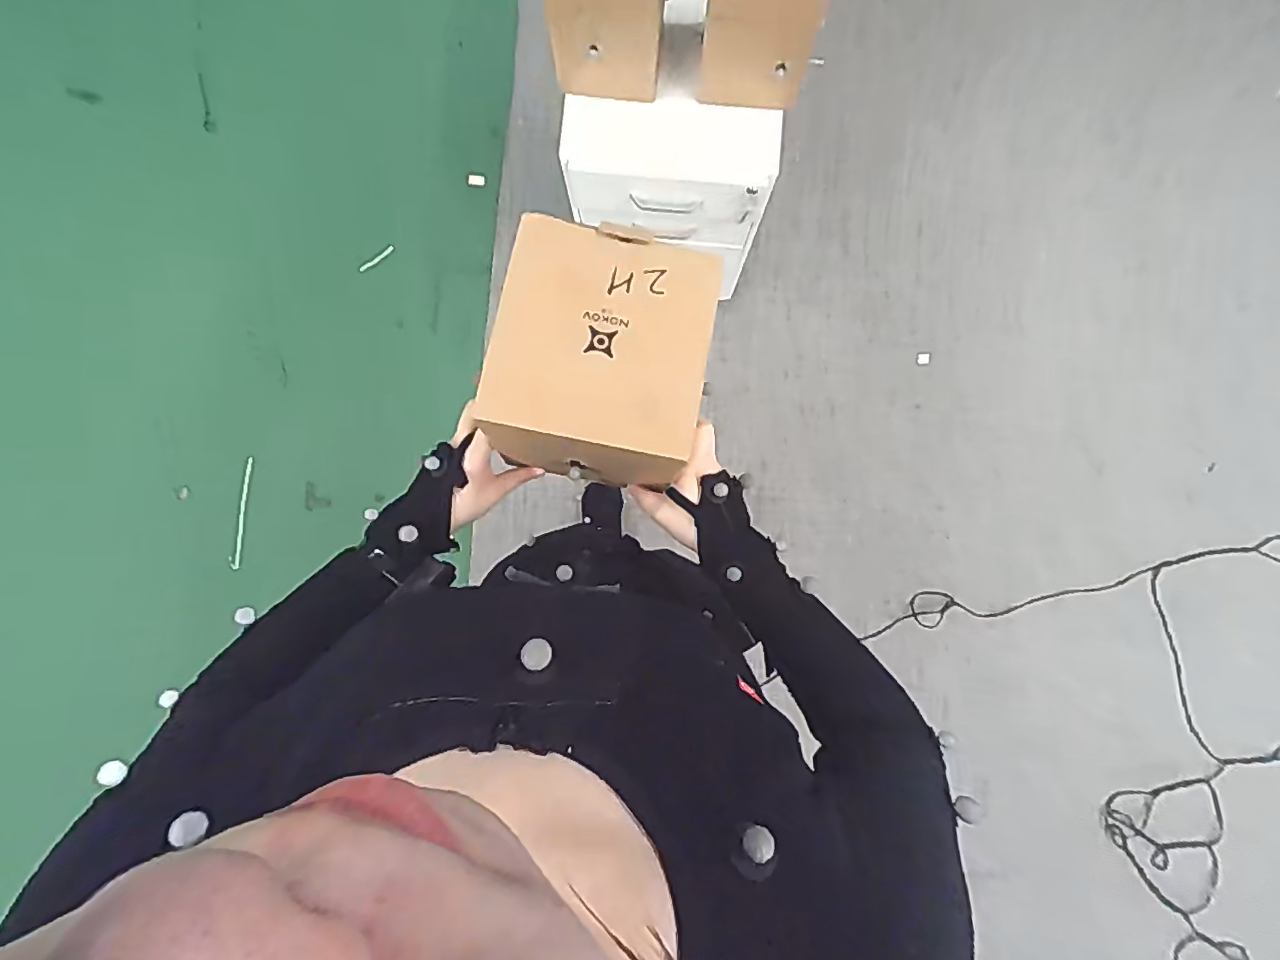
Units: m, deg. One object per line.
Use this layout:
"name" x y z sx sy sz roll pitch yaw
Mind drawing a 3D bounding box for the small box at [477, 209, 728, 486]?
"small box" -0.032 -0.100 0.490 0.168 0.176 0.179 12 79 -4

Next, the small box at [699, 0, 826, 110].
"small box" 0.198 -0.751 0.893 0.179 0.176 0.168 6 85 3

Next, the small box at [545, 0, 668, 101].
"small box" -0.048 -0.769 0.895 0.179 0.176 0.168 6 86 0

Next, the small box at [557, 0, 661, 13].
"small box" -0.048 -0.785 0.731 0.179 0.176 0.168 6 86 -1
